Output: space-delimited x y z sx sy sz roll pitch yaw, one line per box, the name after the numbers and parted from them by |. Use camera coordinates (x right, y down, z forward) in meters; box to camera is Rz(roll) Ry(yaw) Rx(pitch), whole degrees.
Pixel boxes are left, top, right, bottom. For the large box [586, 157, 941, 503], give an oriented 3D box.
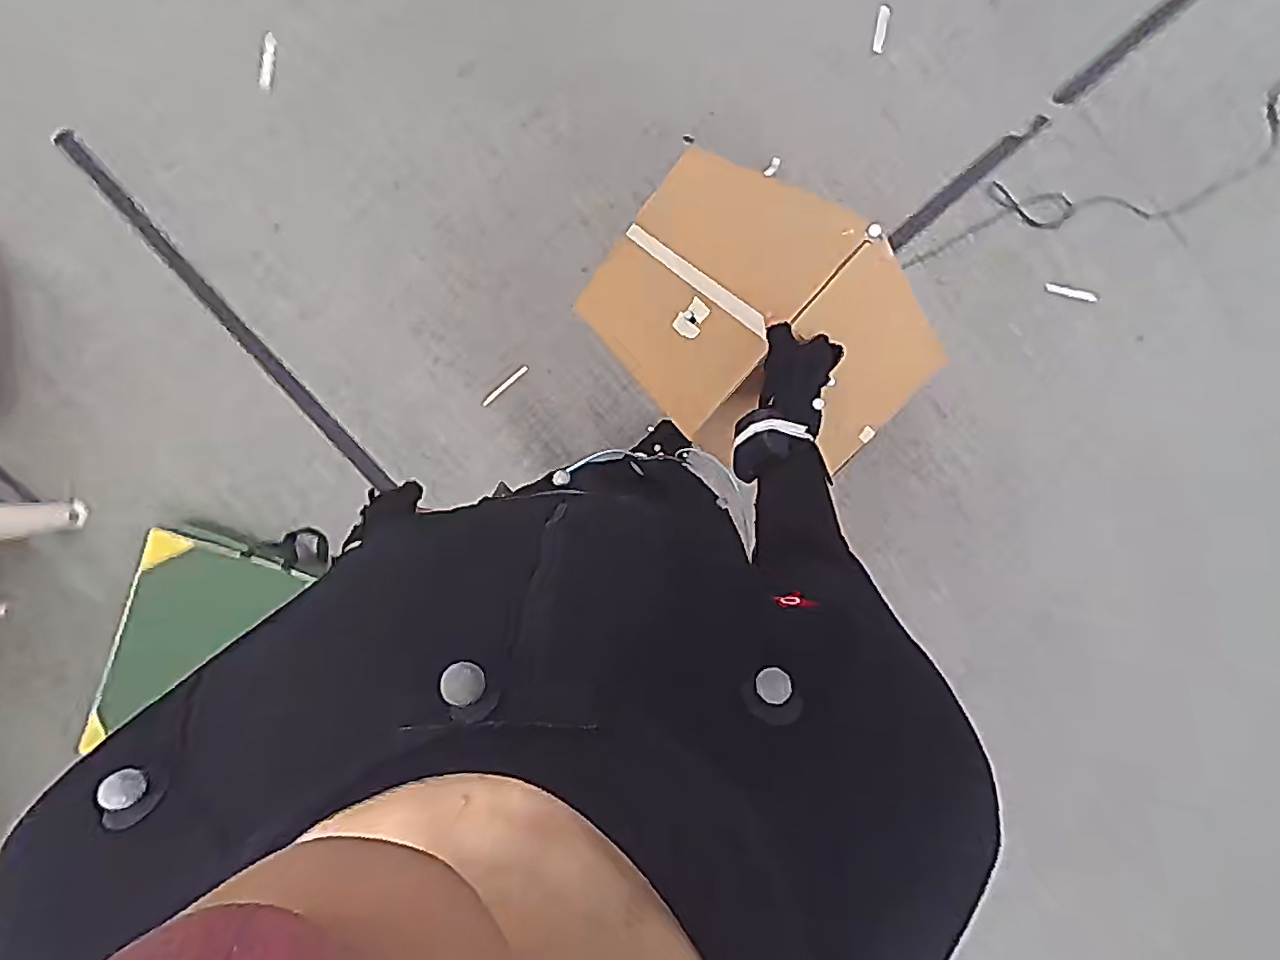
0.182 -0.234 0.868 0.320 0.408 0.320 -47 138 15 | large box
